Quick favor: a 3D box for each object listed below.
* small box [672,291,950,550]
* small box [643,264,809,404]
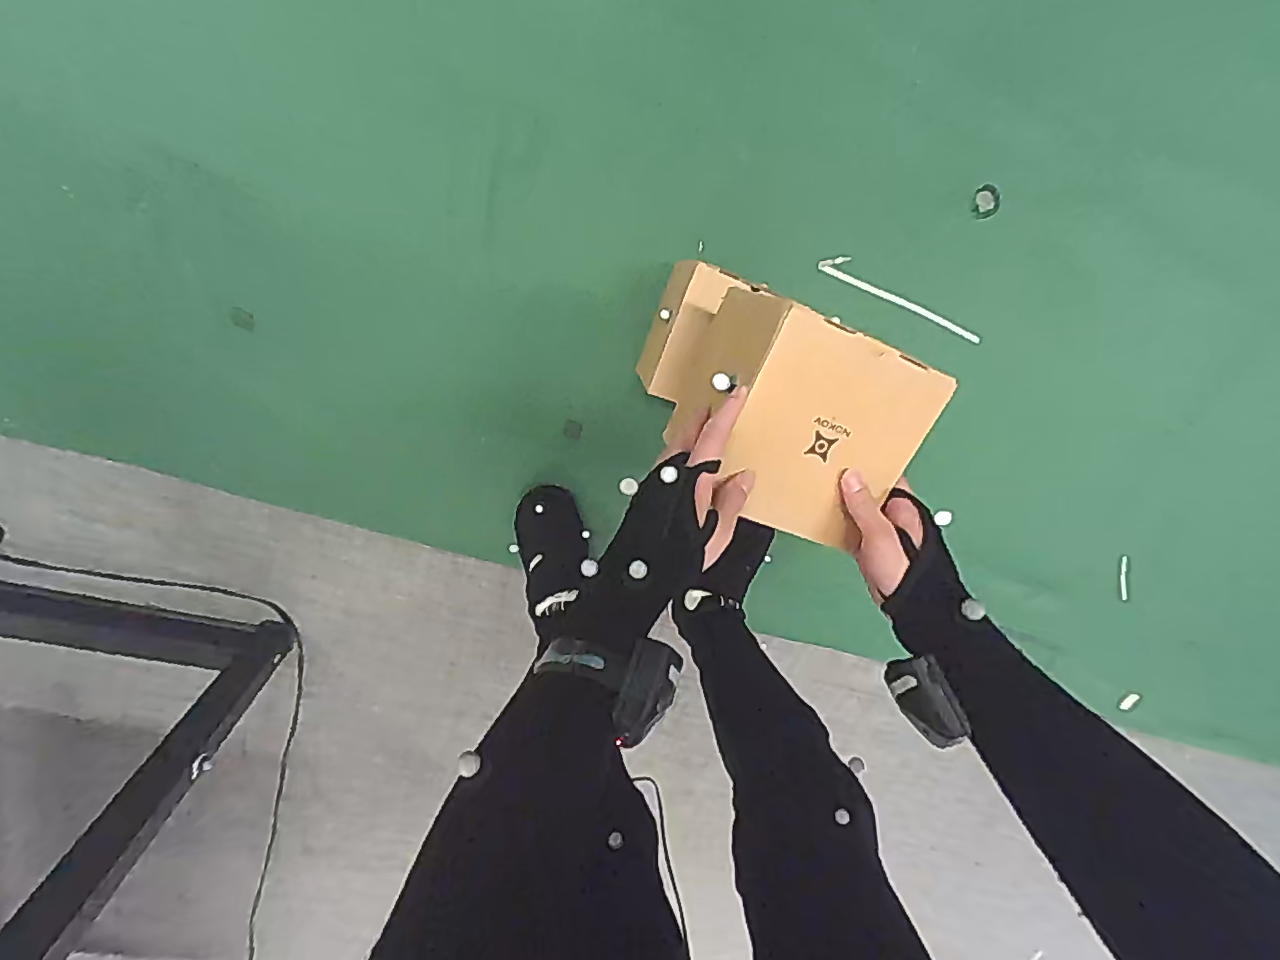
[{"bbox_3d":[0.141,-0.065,0.524,0.168,0.176,0.179,19,109,-15],"label":"small box"},{"bbox_3d":[0.109,-0.196,0.777,0.168,0.176,0.179,18,110,-12],"label":"small box"}]
